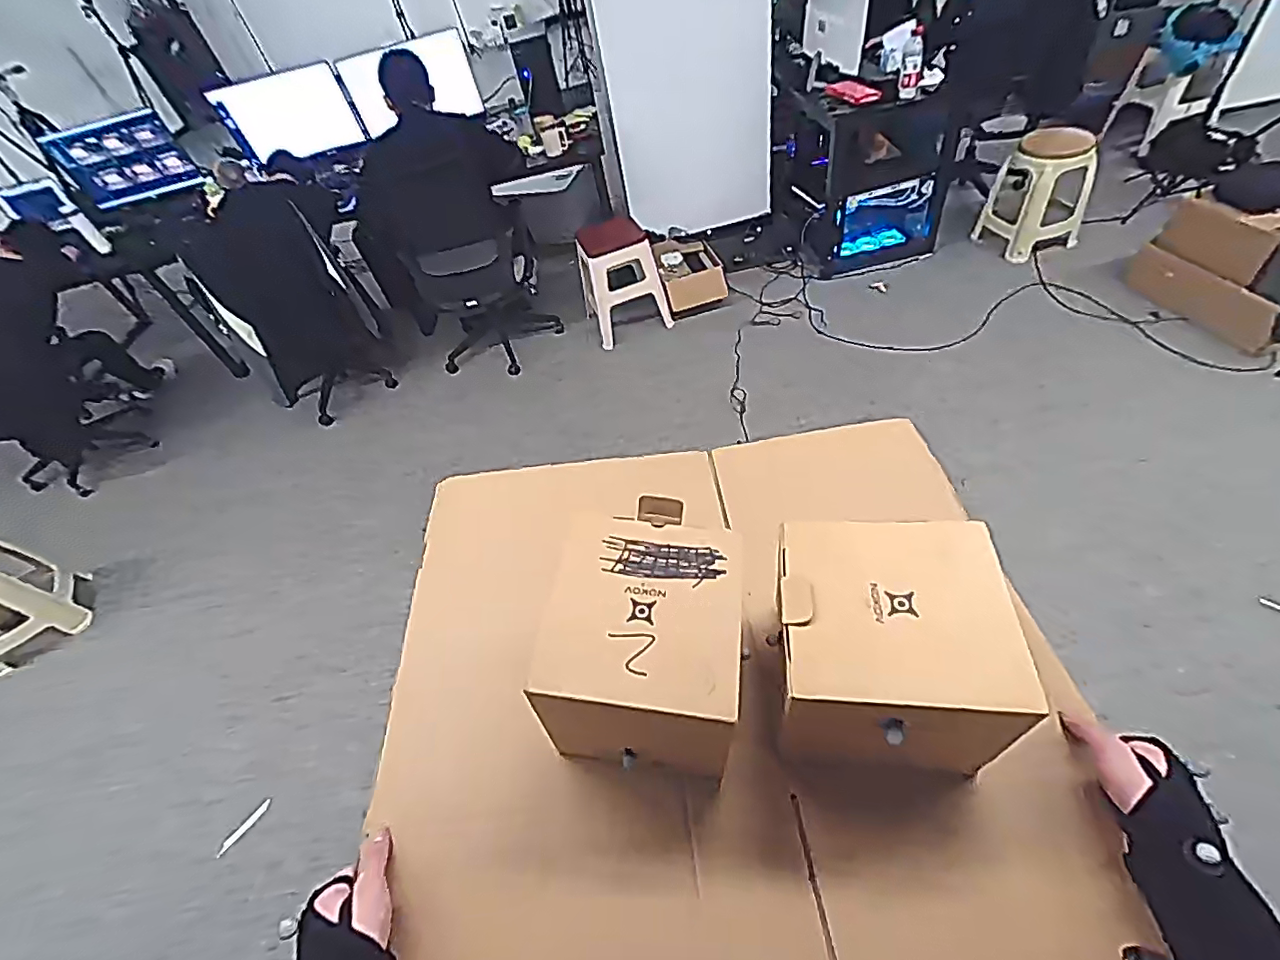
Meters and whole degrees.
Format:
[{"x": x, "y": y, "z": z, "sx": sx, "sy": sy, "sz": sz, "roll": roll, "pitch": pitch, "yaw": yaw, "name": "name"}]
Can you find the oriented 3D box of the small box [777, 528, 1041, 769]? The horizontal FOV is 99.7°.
[{"x": 0.224, "y": 0.160, "z": 0.510, "sx": 0.179, "sy": 0.176, "sz": 0.168, "roll": -1, "pitch": 49, "yaw": 12, "name": "small box"}]
